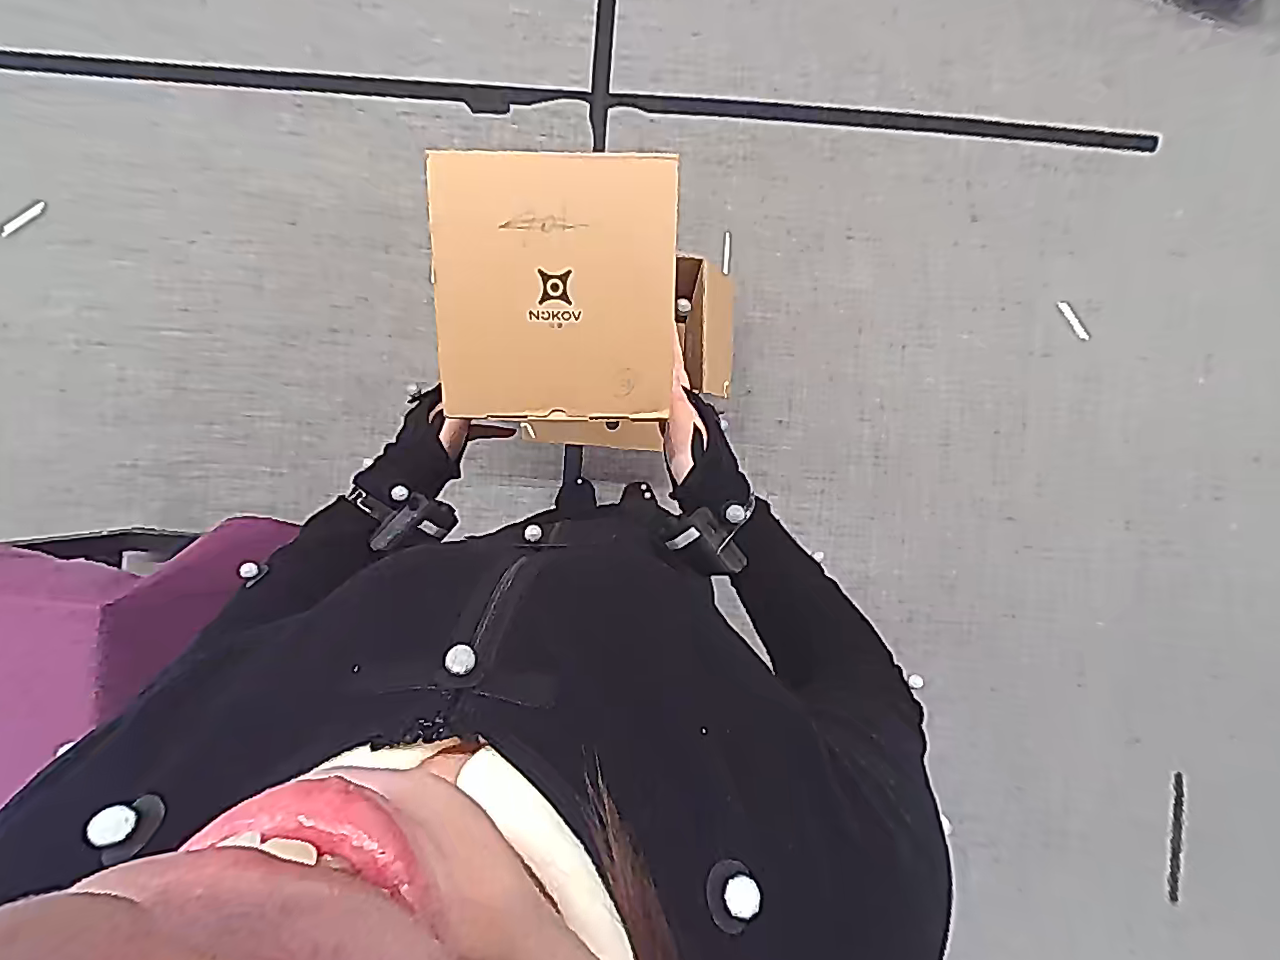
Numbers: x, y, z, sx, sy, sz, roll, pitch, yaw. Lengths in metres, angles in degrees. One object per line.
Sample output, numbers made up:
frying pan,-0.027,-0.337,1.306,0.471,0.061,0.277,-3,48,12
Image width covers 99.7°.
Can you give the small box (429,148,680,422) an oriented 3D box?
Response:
small box,-0.057,-0.147,0.446,0.168,0.176,0.179,1,103,-1
